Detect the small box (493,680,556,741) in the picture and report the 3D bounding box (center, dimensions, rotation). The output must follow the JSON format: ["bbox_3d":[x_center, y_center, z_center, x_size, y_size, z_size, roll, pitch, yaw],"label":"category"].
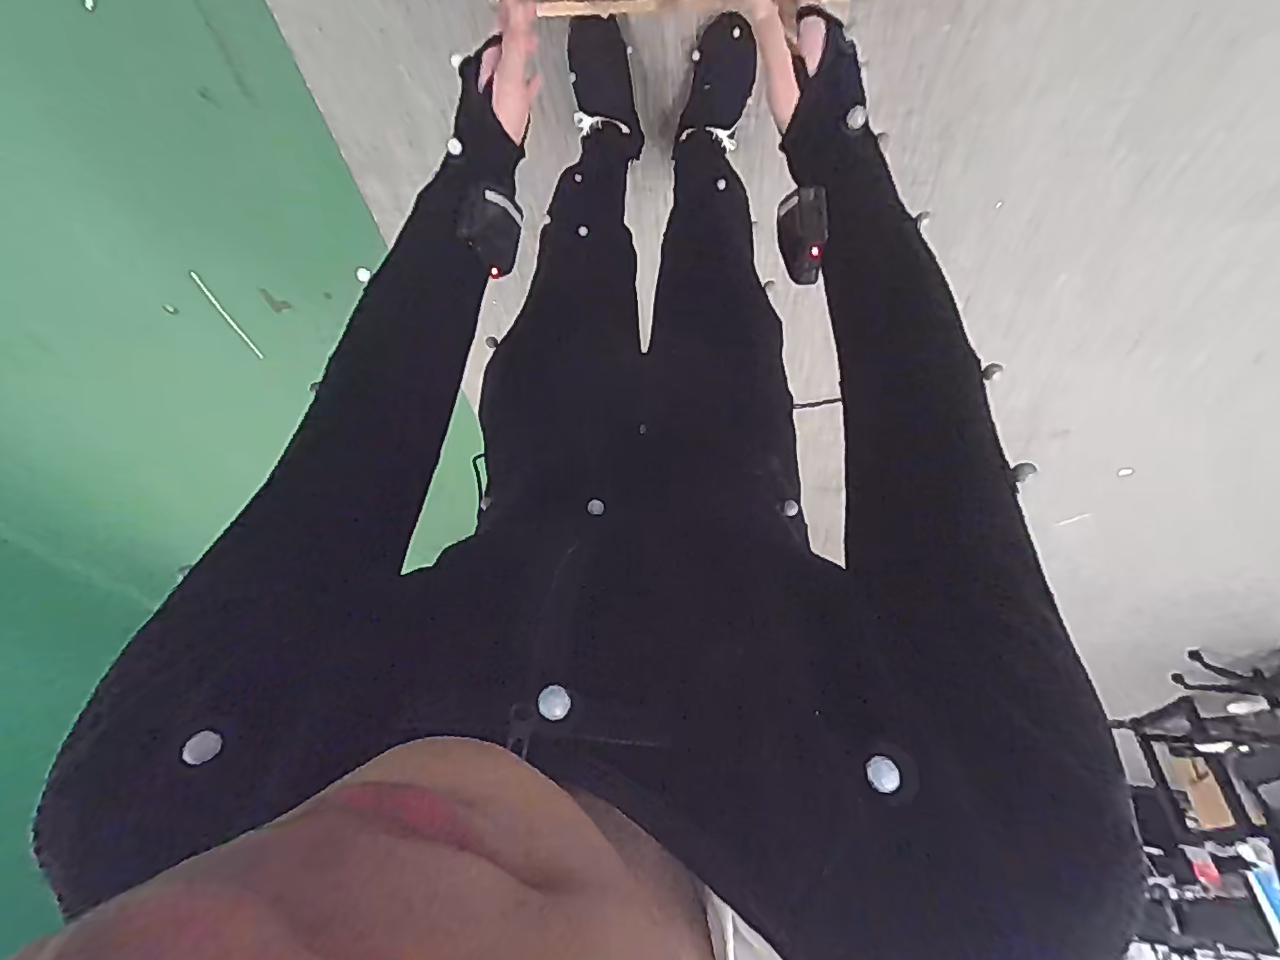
[{"bbox_3d":[-0.420,0.854,2.001,0.168,0.176,0.179,-1,143,8],"label":"small box"}]

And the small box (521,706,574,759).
[{"bbox_3d":[-0.379,1.045,2.249,0.168,0.176,0.179,1,140,8],"label":"small box"}]
